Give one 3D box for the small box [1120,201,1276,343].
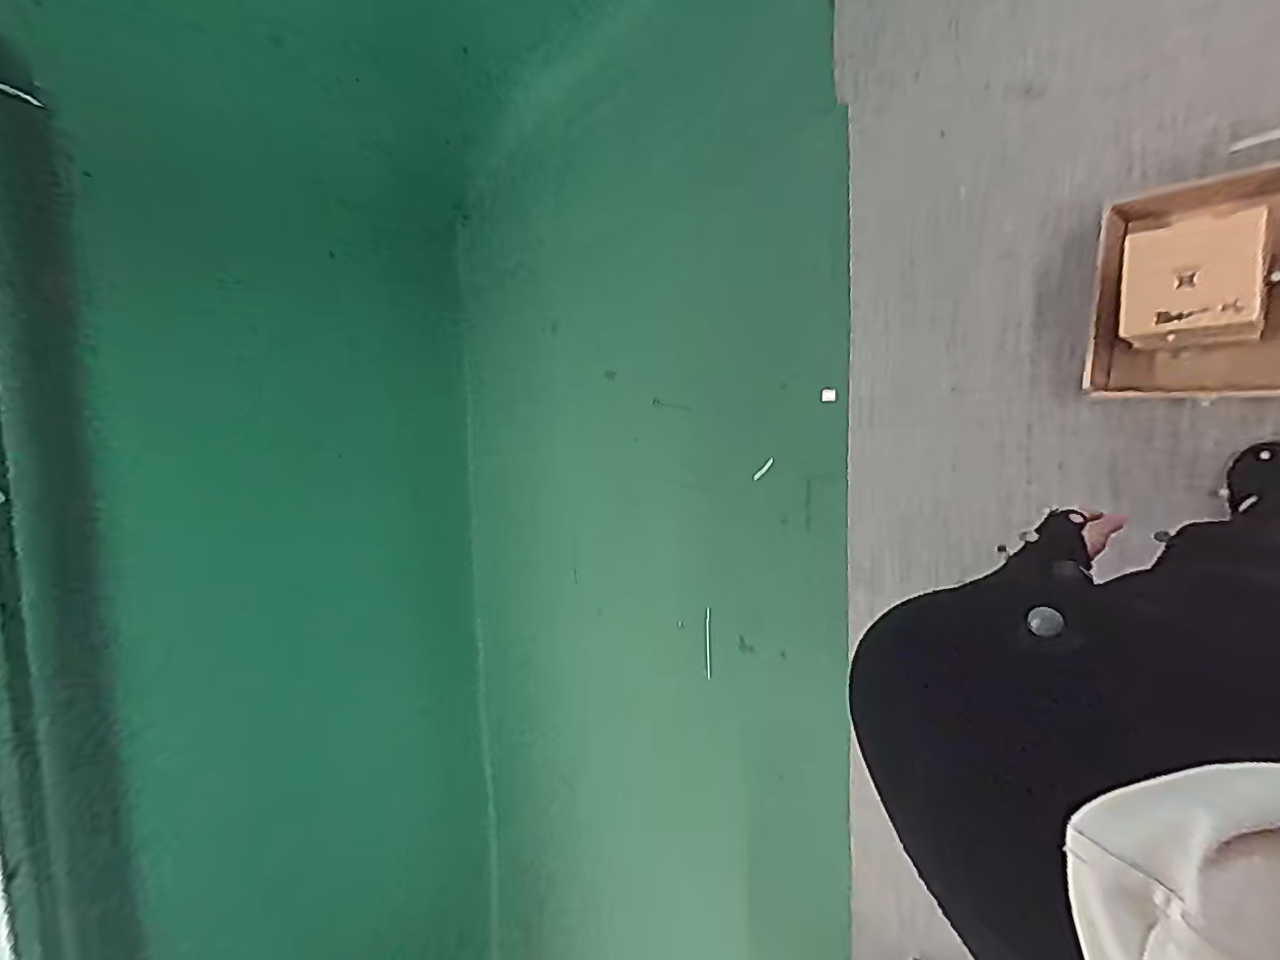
[{"bbox_3d":[0.961,-0.345,0.932,0.168,0.176,0.179,6,97,52],"label":"small box"}]
